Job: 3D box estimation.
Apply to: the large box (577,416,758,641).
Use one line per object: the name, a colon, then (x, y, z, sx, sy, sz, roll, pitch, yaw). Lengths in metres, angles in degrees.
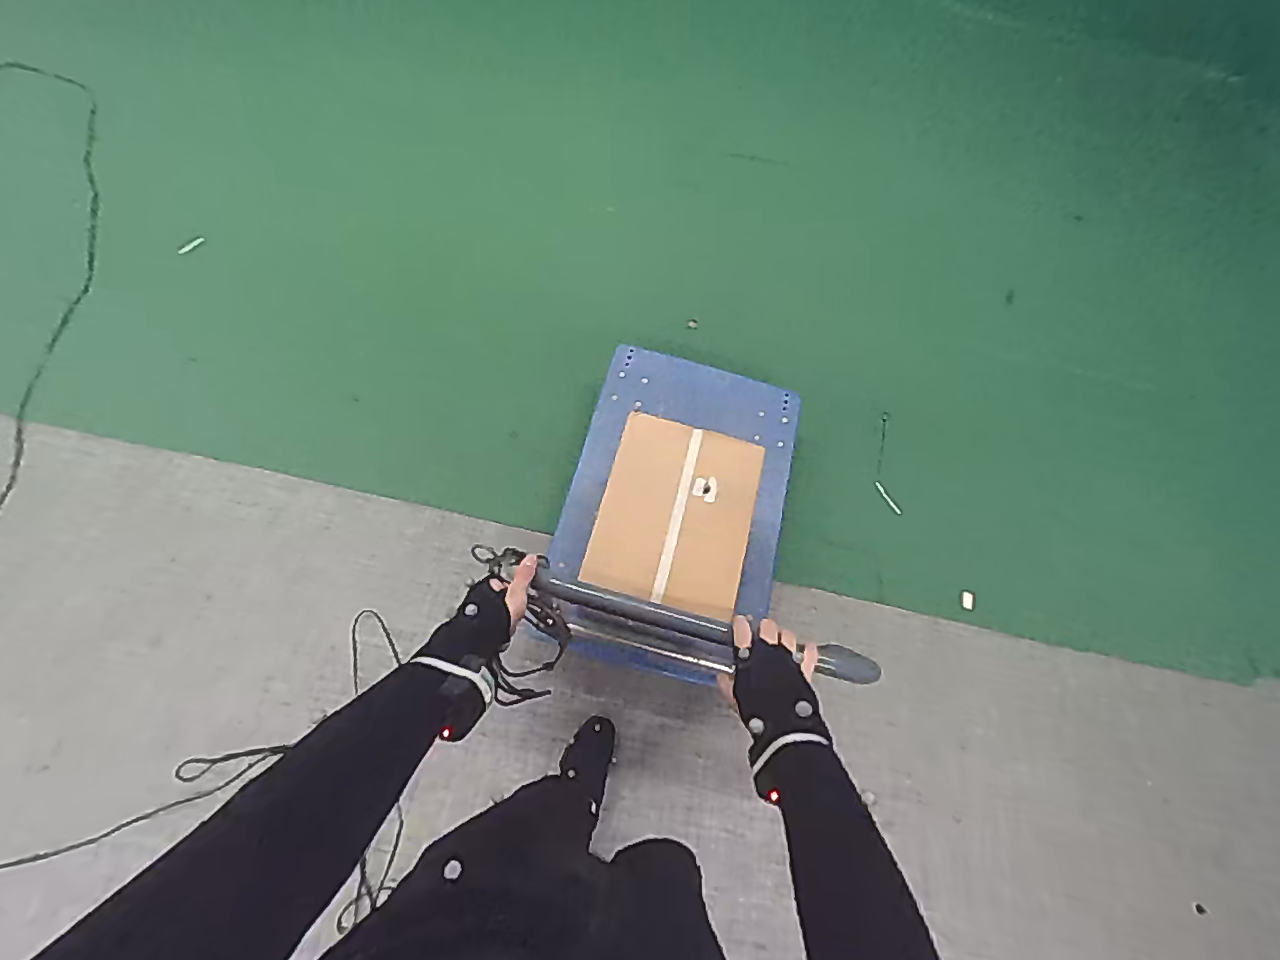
large box: (0.055, 0.128, 1.261, 0.320, 0.320, 0.408, 17, 67, -1)
